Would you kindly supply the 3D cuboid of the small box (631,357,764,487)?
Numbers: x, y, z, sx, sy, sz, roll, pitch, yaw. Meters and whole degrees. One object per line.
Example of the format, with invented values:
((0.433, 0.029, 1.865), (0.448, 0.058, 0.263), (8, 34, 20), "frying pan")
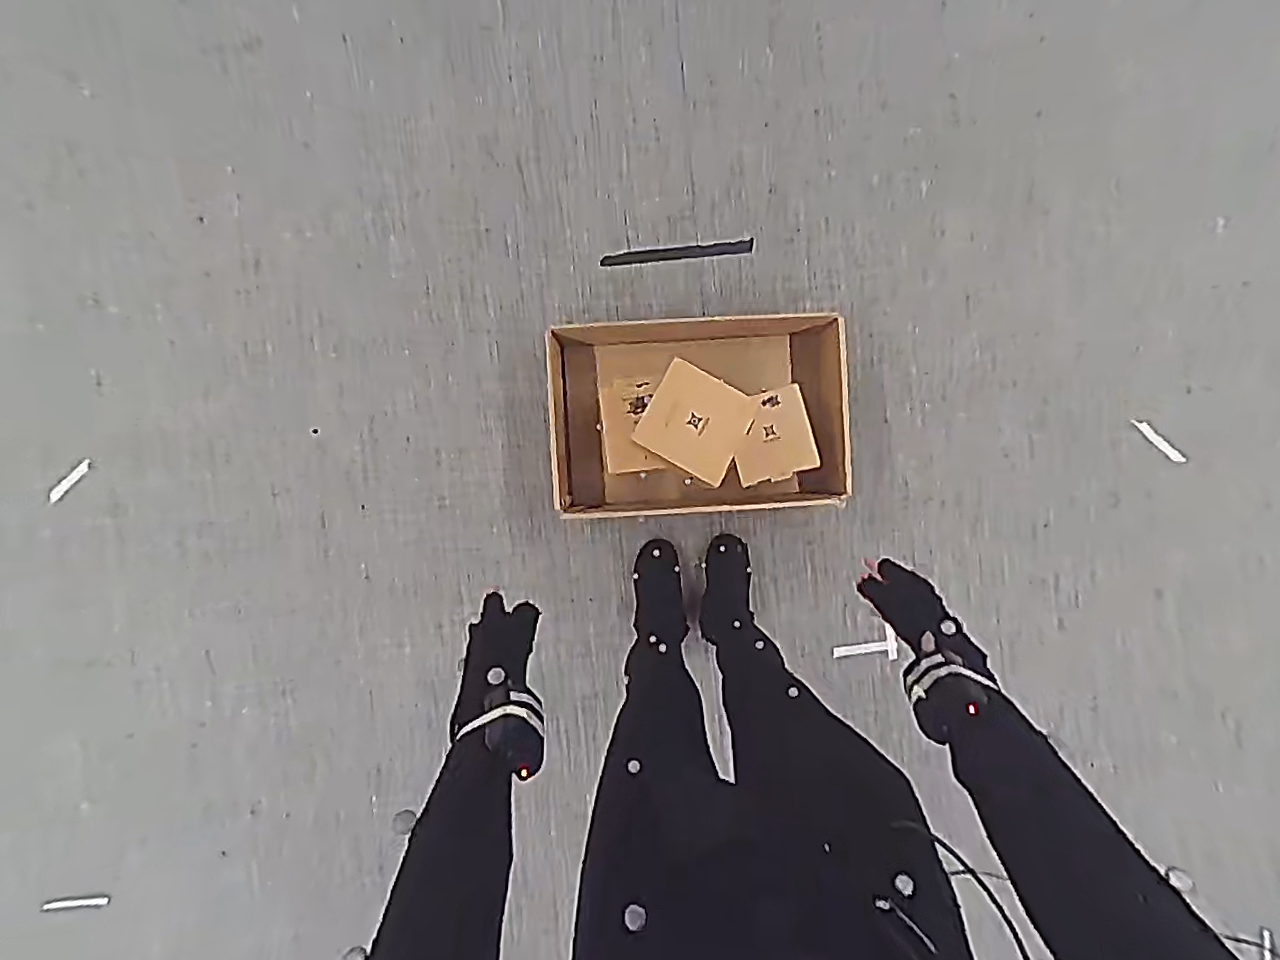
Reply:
((0.097, -0.099, 0.998), (0.179, 0.176, 0.168), (29, 88, 0), "small box")

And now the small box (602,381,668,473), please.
((0.007, -0.109, 1.158), (0.168, 0.176, 0.179), (-6, 91, -2), "small box")
